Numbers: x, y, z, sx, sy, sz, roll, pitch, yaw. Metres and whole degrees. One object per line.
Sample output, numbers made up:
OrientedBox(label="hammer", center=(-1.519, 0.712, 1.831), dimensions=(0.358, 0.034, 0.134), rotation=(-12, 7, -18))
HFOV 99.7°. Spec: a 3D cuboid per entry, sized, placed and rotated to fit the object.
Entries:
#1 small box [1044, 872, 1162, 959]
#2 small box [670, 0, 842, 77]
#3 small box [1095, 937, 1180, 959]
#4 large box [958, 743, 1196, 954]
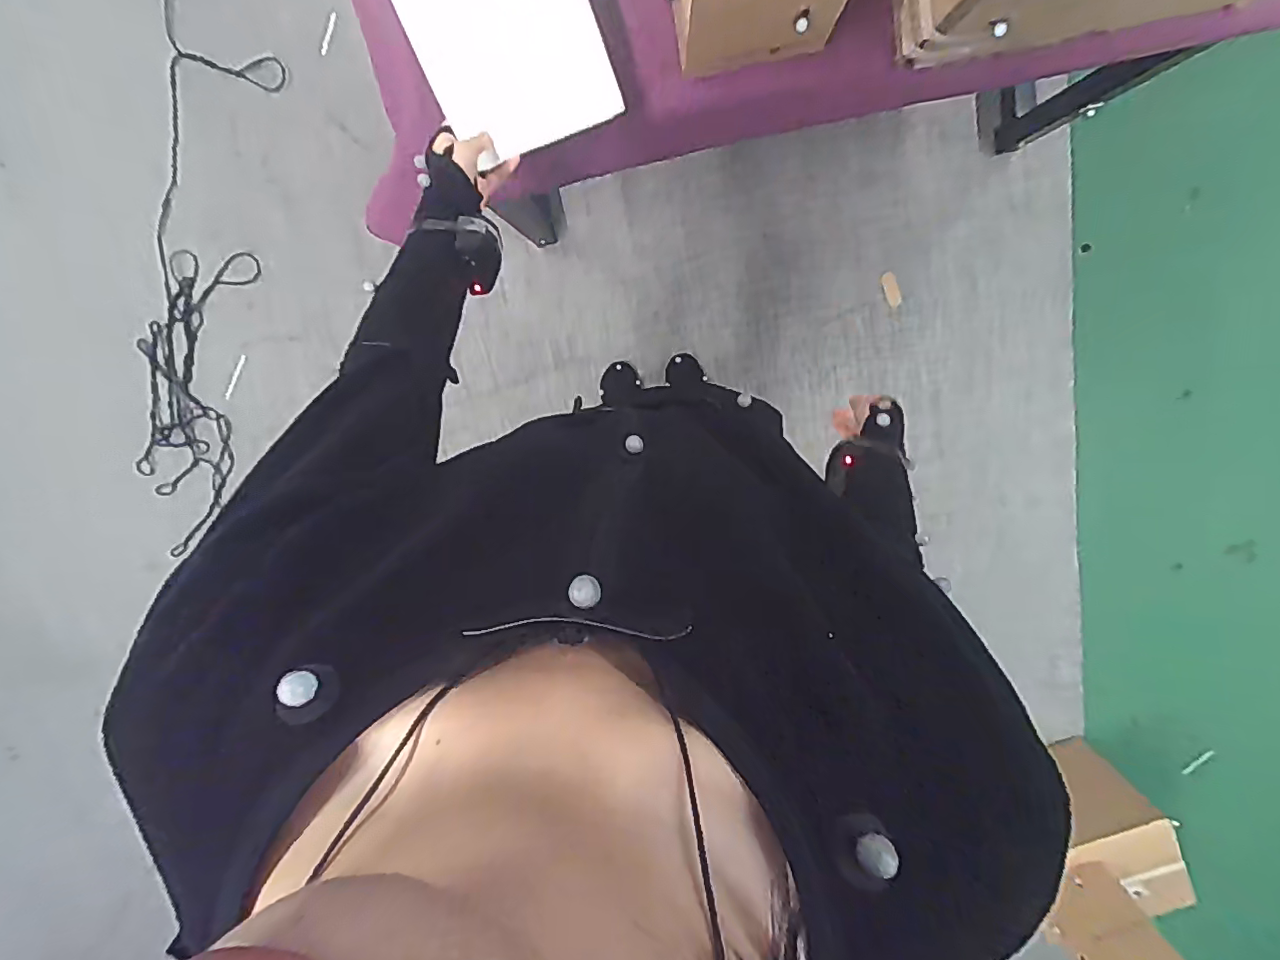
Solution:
OrientedBox(label="small box", center=(1.158, 1.137, 1.355), dimensions=(0.179, 0.176, 0.168), rotation=(-21, 102, 7))
OrientedBox(label="small box", center=(0.115, -0.549, 0.550), dimensions=(0.168, 0.176, 0.179), rotation=(-9, 102, 3))
OrientedBox(label="small box", center=(1.152, 1.174, 1.194), dimensions=(0.179, 0.176, 0.168), rotation=(-25, 101, 6))
OrientedBox(label="large box", center=(1.249, 1.060, 1.586), dimensions=(0.408, 0.320, 0.320), rotation=(-25, 102, 6))
